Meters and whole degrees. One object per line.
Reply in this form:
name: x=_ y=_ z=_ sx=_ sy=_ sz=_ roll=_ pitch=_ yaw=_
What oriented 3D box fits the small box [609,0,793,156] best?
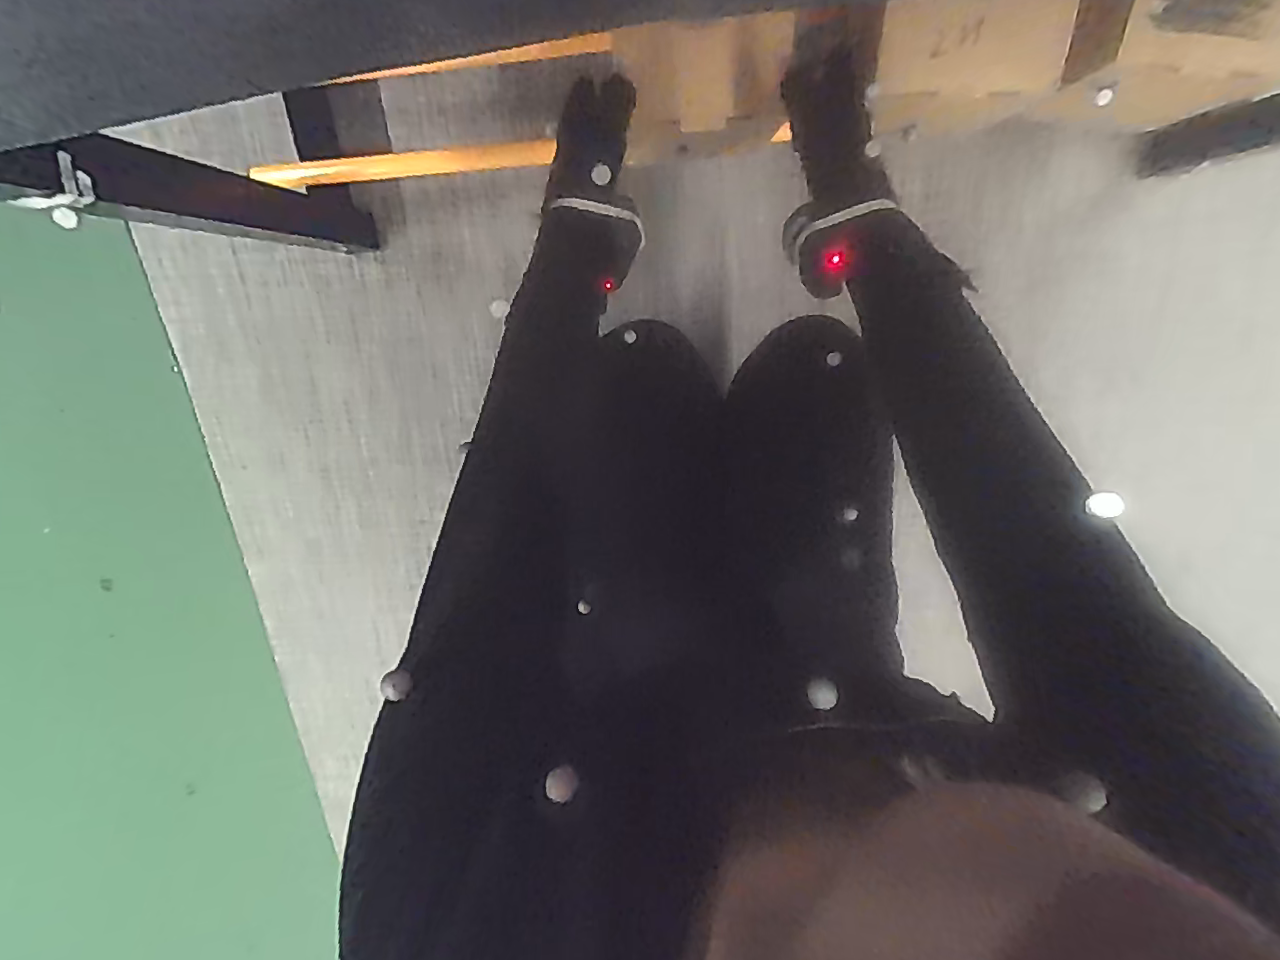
small box: x=0.054 y=-0.450 z=0.549 sx=0.168 sy=0.176 sz=0.179 roll=-2 pitch=111 yaw=2
